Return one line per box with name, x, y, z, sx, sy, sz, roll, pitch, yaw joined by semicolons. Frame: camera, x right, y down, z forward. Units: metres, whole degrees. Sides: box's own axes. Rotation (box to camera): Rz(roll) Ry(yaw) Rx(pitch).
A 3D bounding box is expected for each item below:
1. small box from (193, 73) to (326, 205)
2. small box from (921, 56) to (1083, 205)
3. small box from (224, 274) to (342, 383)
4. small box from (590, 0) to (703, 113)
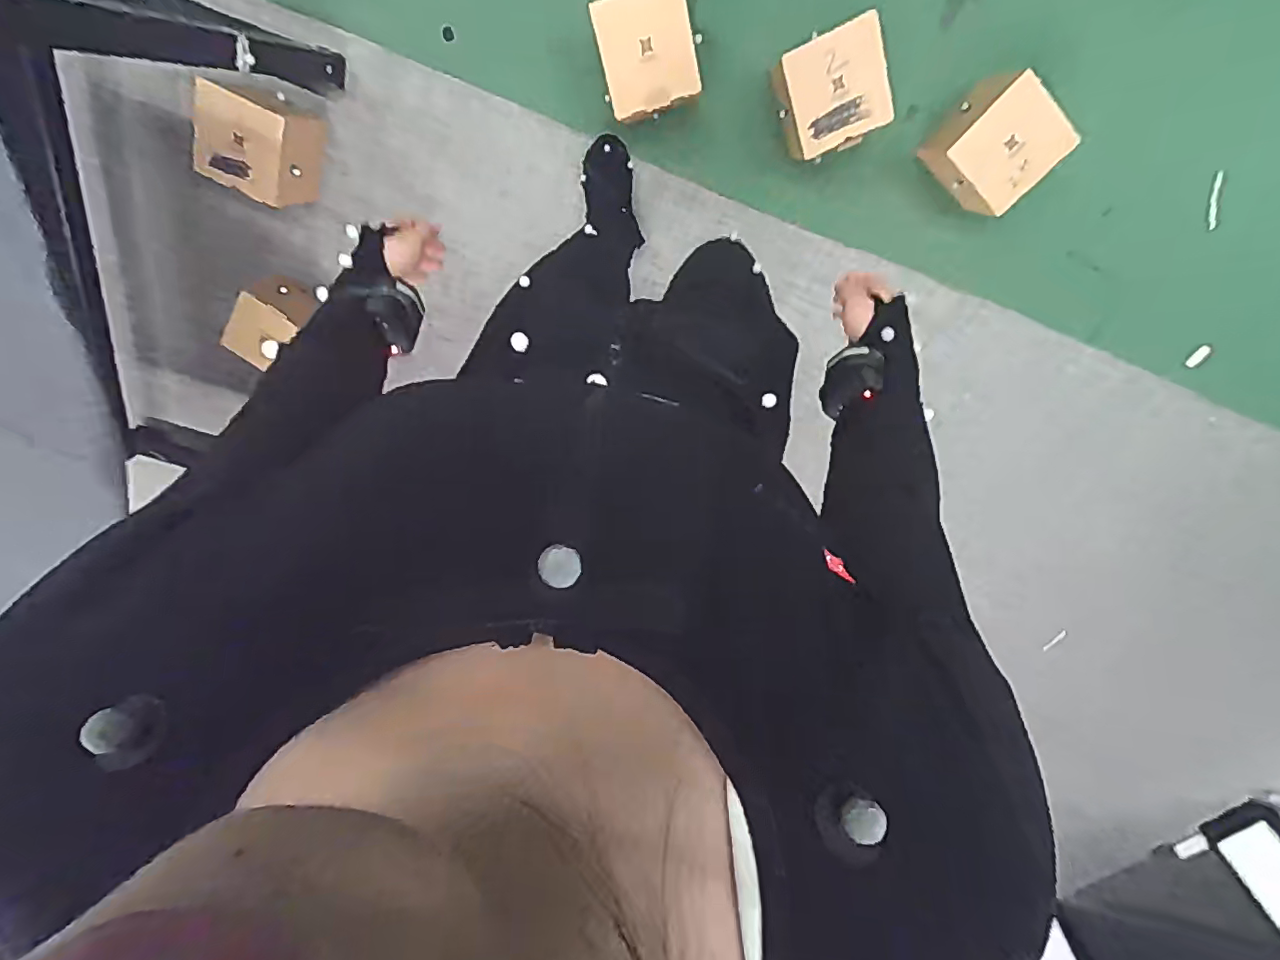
small box;-0.790;-0.710;1.134;0.168;0.176;0.179;22;122;-11
small box;0.690;-0.674;1.055;0.179;0.176;0.168;35;120;-18
small box;-0.887;-0.386;1.360;0.168;0.176;0.179;36;120;-18
small box;0.016;-0.812;1.012;0.168;0.176;0.179;-12;123;12
